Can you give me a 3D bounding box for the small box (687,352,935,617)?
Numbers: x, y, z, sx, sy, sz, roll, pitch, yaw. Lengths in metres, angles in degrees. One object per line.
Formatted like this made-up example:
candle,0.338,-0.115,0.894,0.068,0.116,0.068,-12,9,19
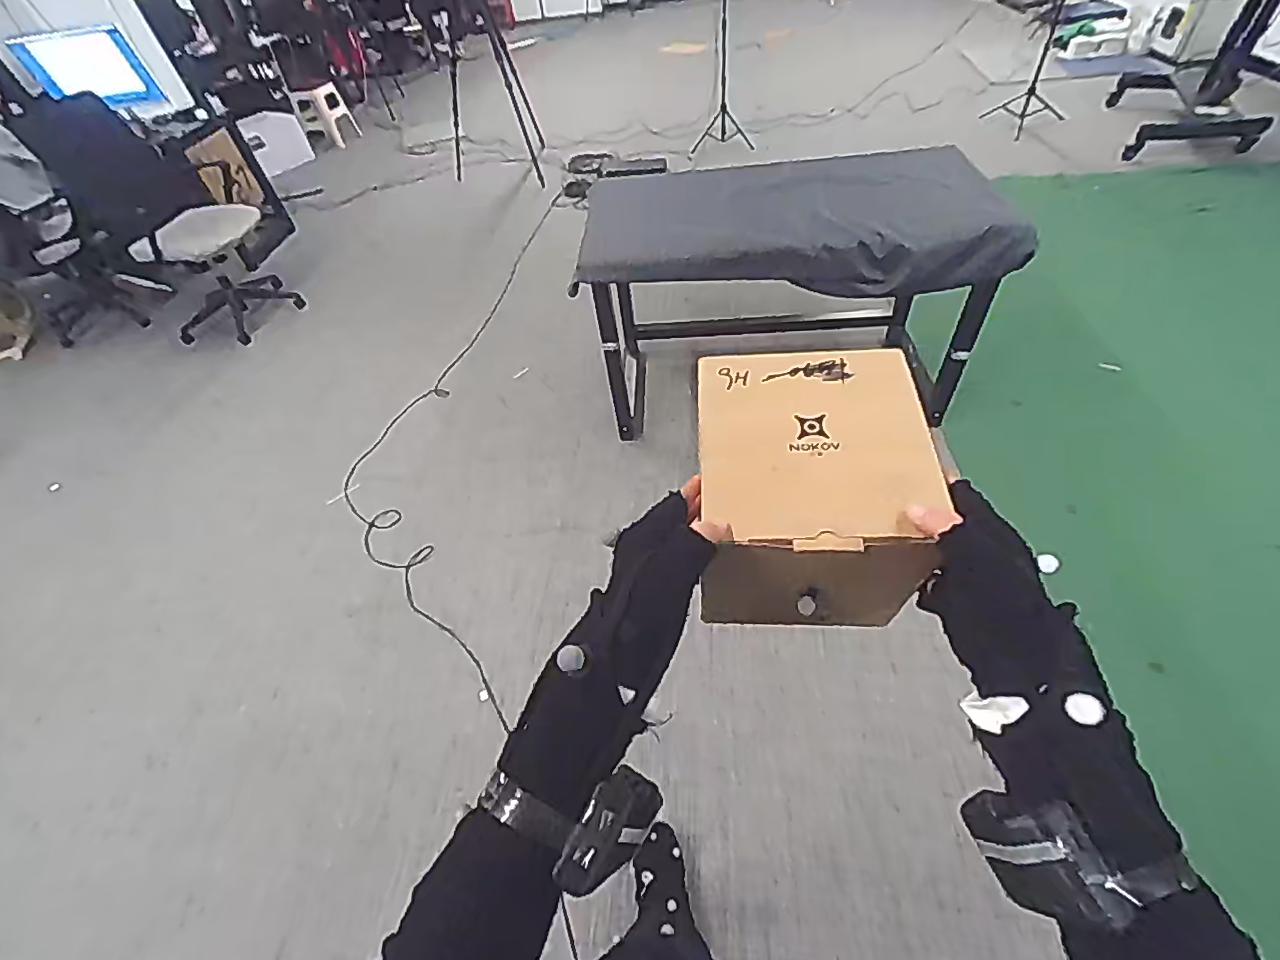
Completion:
small box,0.129,0.013,0.474,0.168,0.176,0.179,-1,57,7
